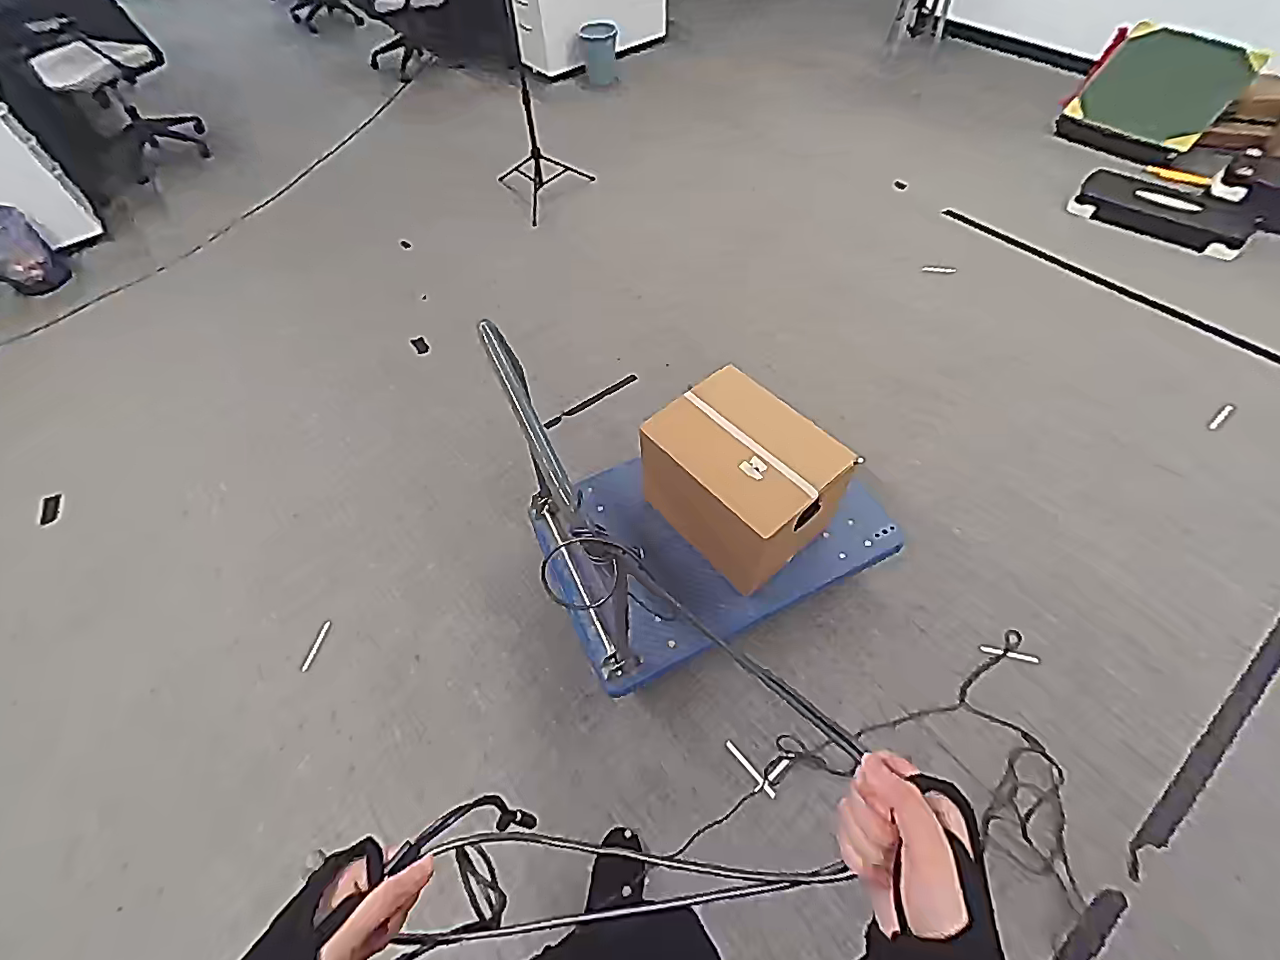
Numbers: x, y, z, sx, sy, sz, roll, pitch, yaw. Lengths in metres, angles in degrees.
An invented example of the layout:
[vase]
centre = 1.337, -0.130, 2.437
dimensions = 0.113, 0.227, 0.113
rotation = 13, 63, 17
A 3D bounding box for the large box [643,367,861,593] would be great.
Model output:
[large box]
centre = 0.249, -0.001, 1.348
dimensions = 0.320, 0.320, 0.408
rotation = -36, 63, -19
